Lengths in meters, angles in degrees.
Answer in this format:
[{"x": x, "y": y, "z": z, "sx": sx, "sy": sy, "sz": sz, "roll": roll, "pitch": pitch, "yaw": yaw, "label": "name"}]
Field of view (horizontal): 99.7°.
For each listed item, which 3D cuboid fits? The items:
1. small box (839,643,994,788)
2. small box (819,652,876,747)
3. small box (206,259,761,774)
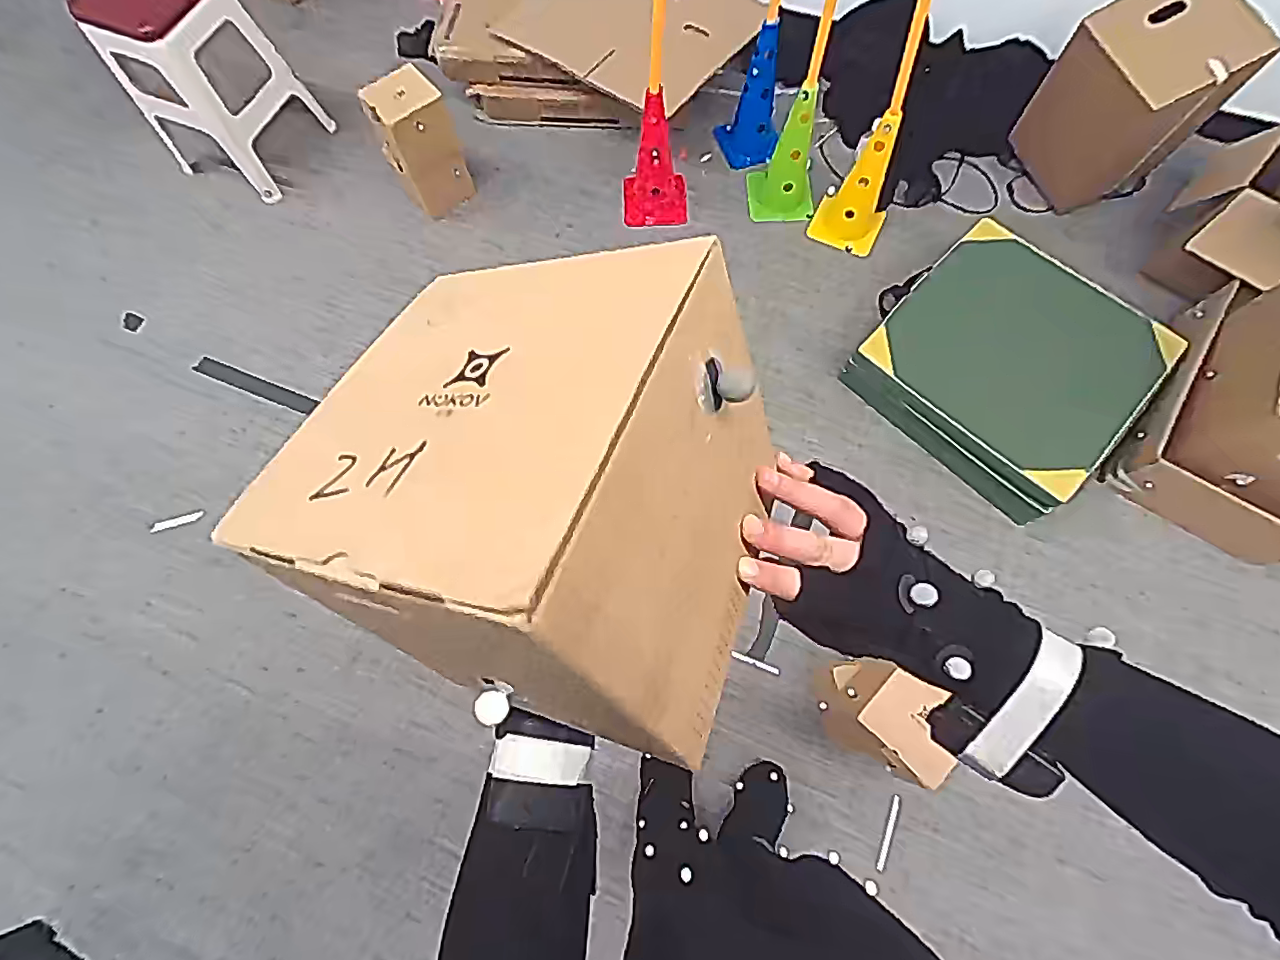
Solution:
[{"x": 0.499, "y": 0.428, "z": 1.010, "sx": 0.179, "sy": 0.176, "sz": 0.168, "roll": -43, "pitch": 77, "yaw": -12, "label": "small box"}, {"x": 0.504, "y": 0.467, "z": 1.172, "sx": 0.179, "sy": 0.176, "sz": 0.168, "roll": -10, "pitch": 71, "yaw": -2, "label": "small box"}, {"x": -0.048, "y": 0.018, "z": 0.276, "sx": 0.168, "sy": 0.176, "sz": 0.179, "roll": 8, "pitch": 60, "yaw": 32, "label": "small box"}]
